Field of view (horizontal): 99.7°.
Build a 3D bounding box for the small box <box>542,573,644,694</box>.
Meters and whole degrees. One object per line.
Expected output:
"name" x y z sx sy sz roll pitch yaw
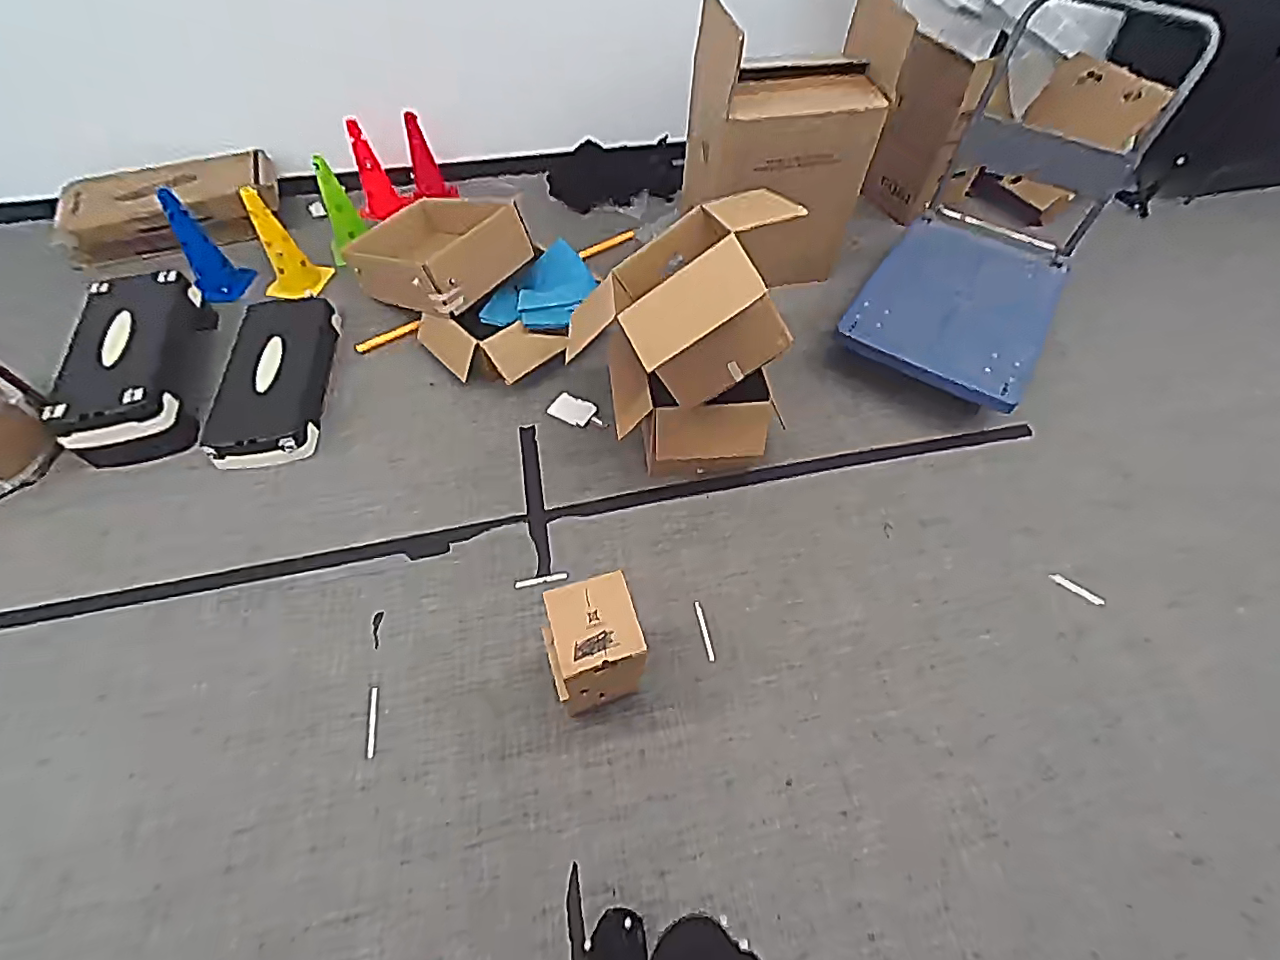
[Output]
"small box" -0.093 0.320 1.103 0.168 0.176 0.179 -14 57 -11
